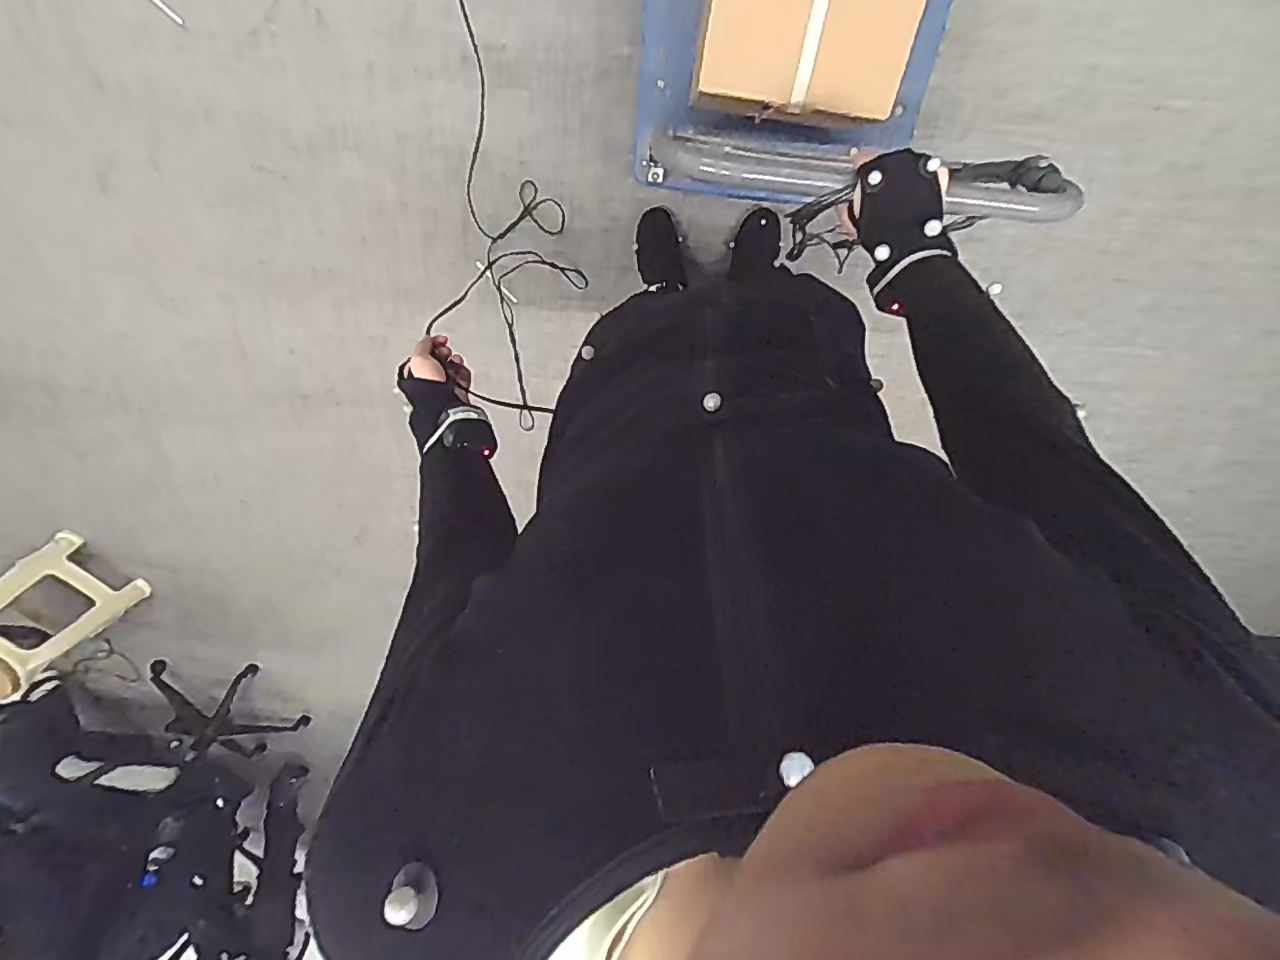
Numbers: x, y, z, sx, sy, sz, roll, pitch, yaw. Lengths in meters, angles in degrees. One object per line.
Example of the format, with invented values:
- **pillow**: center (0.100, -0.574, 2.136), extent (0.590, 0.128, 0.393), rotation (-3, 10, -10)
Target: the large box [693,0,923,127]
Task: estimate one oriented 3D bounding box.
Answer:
- **large box**: center (0.272, -0.836, 0.879), extent (0.320, 0.320, 0.408), rotation (7, 120, -3)
